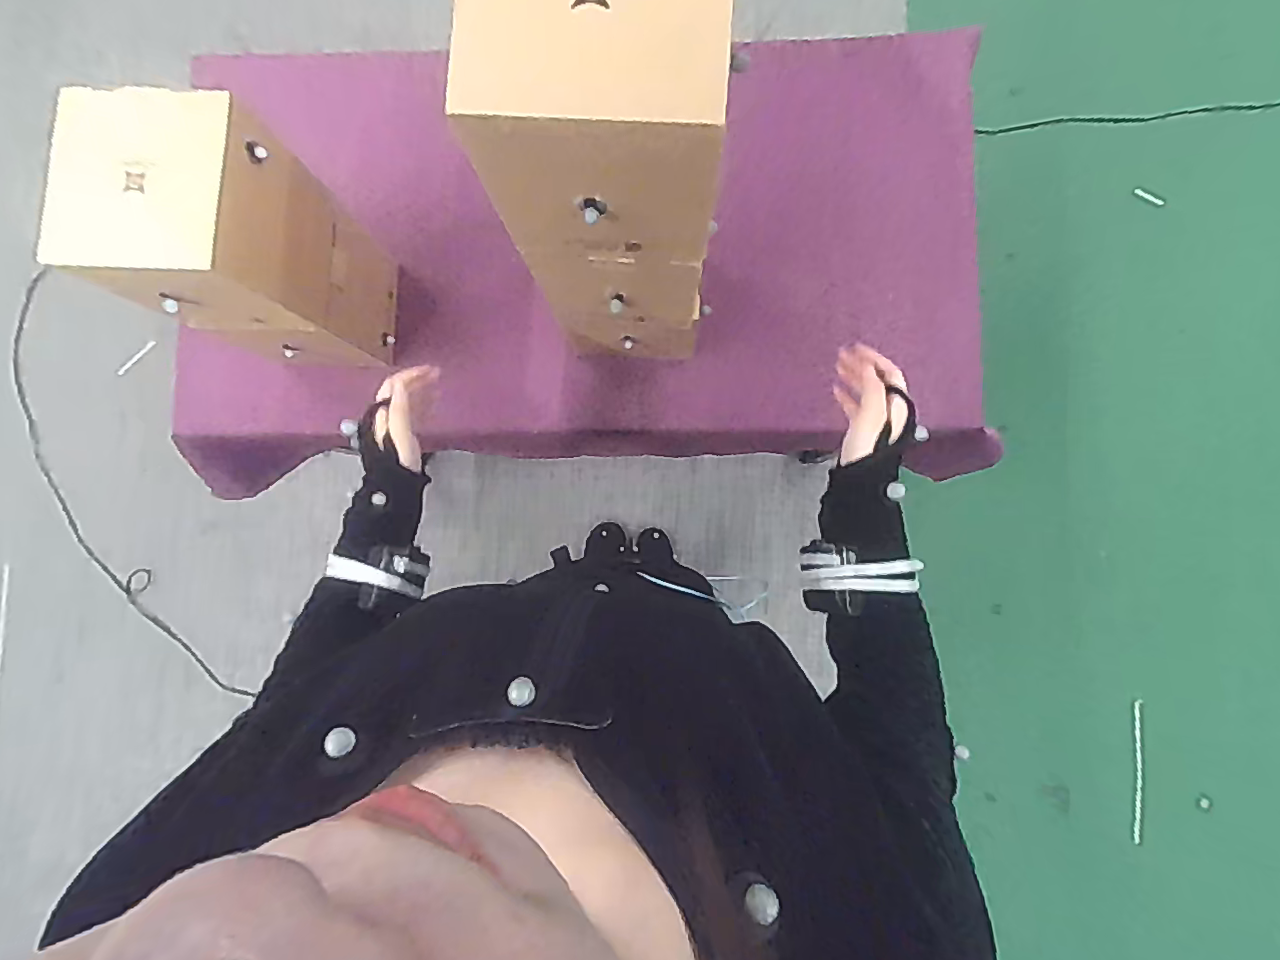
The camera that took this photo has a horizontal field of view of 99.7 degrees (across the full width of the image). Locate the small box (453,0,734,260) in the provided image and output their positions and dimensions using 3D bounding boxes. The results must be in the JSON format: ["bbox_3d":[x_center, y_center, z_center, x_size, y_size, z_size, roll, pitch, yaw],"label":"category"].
[{"bbox_3d":[-0.021,-0.285,0.403,0.168,0.176,0.179,5,86,2],"label":"small box"}]

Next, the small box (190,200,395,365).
[{"bbox_3d":[-0.458,-0.261,0.742,0.179,0.176,0.168,2,86,2],"label":"small box"}]

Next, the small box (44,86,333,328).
[{"bbox_3d":[-0.459,-0.274,0.579,0.168,0.176,0.179,3,85,1],"label":"small box"}]

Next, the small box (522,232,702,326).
[{"bbox_3d":[-0.014,-0.276,0.568,0.168,0.176,0.179,6,87,2],"label":"small box"}]
